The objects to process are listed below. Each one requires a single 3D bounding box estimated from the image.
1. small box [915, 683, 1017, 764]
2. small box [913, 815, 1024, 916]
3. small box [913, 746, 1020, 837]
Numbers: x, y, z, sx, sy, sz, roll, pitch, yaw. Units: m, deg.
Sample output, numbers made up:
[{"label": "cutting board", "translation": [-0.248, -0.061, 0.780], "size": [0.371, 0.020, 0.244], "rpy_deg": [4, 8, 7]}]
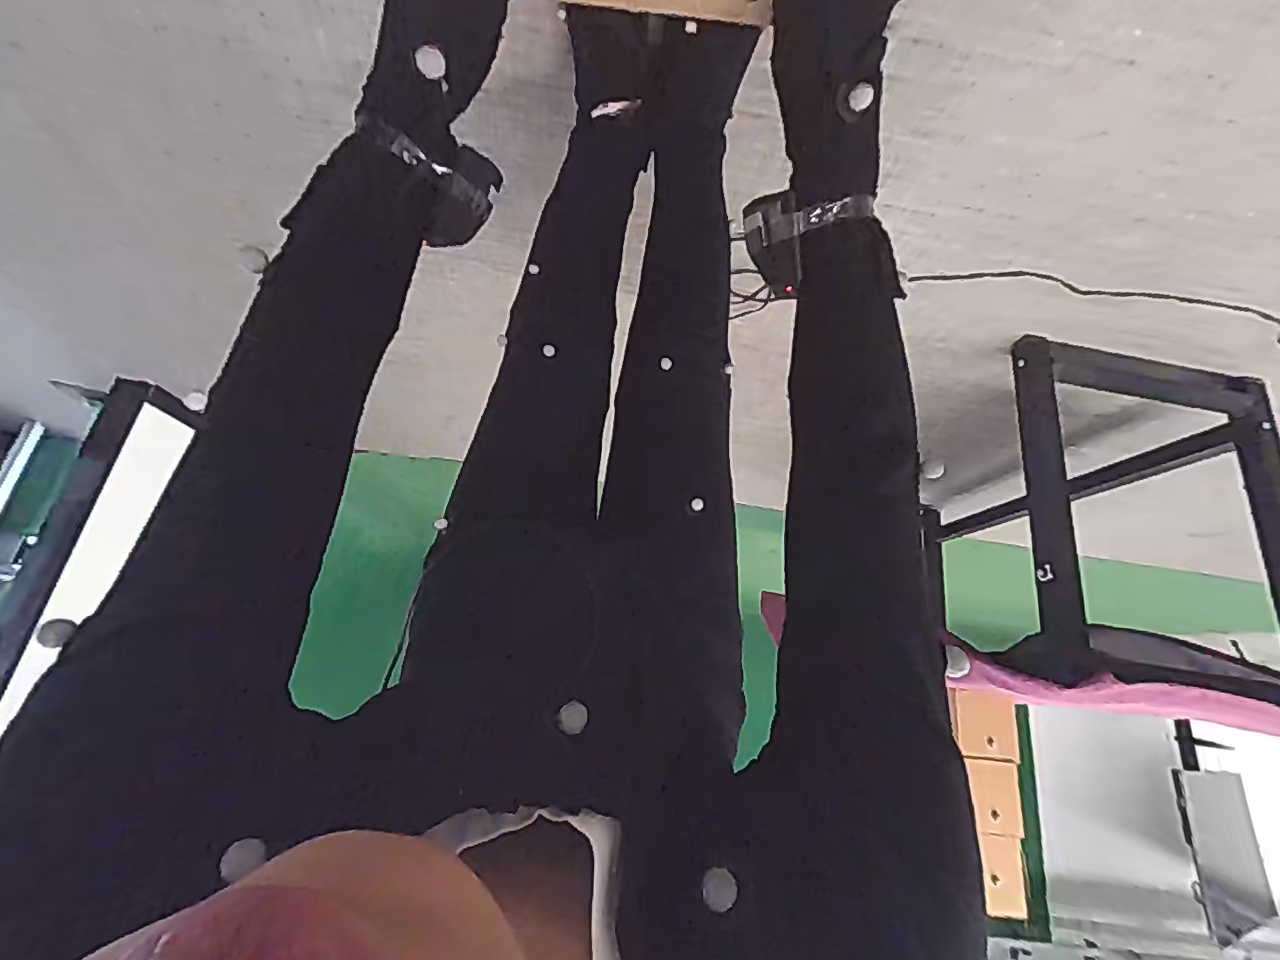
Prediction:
[{"label": "small box", "translation": [0.880, 0.656, 1.471], "size": [0.179, 0.176, 0.168], "rpy_deg": [11, 160, -7]}, {"label": "small box", "translation": [0.812, 0.957, 1.357], "size": [0.179, 0.176, 0.168], "rpy_deg": [10, 160, -7]}, {"label": "small box", "translation": [0.843, 0.804, 1.410], "size": [0.179, 0.176, 0.168], "rpy_deg": [10, 159, -6]}]
